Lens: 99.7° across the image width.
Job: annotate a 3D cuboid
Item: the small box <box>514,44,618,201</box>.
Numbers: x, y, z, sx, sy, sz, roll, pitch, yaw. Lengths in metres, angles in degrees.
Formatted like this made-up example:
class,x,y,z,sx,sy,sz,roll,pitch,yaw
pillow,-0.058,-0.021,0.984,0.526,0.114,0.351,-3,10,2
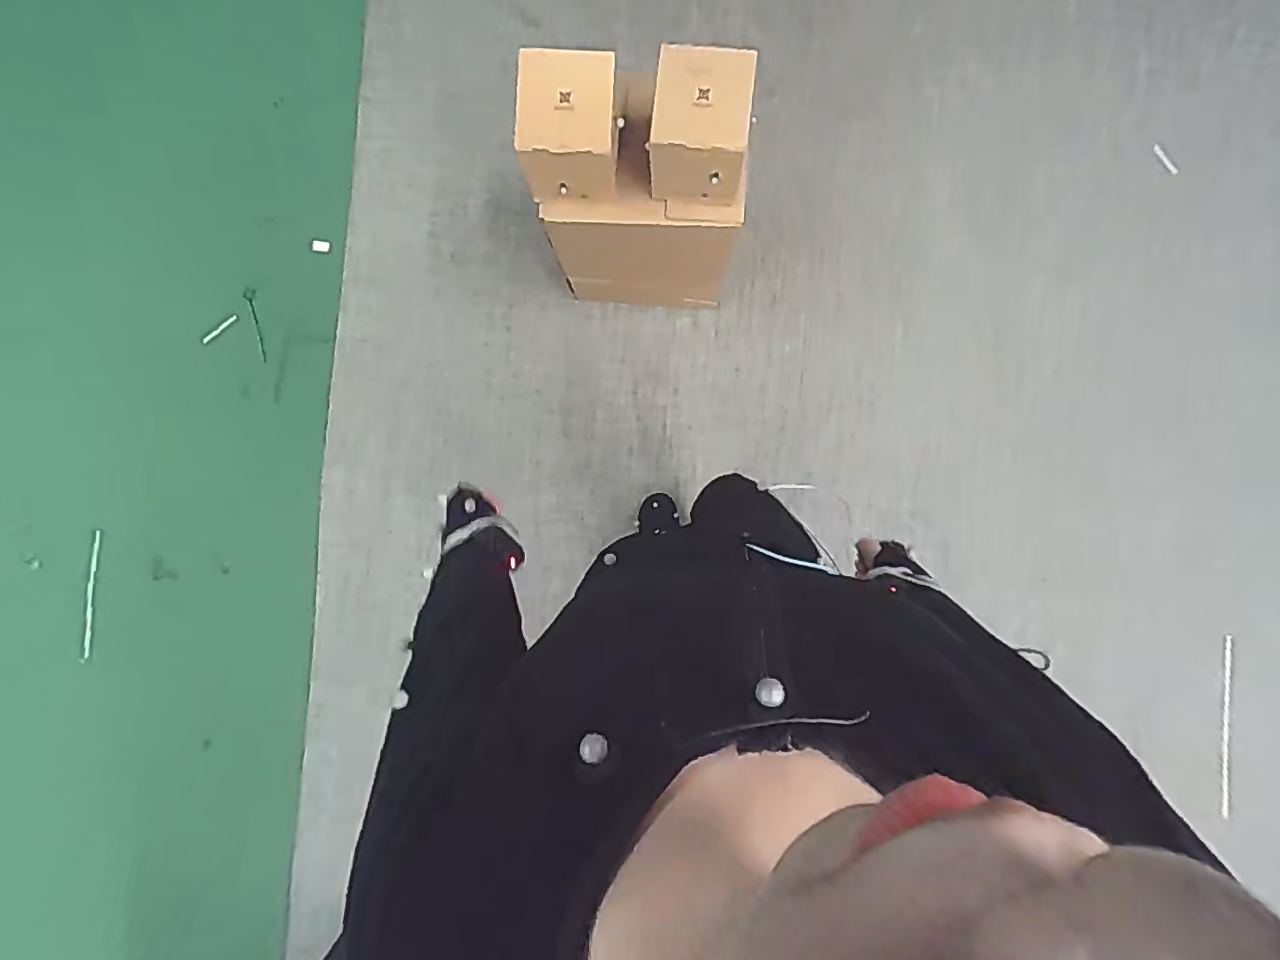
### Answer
class,x,y,z,sx,sy,sz,roll,pitch,yaw
small box,-0.128,-0.644,0.991,0.168,0.176,0.179,3,91,1

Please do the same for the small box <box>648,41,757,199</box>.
class,x,y,z,sx,sy,sz,roll,pitch,yaw
small box,0.109,-0.641,0.981,0.168,0.176,0.179,7,88,3
